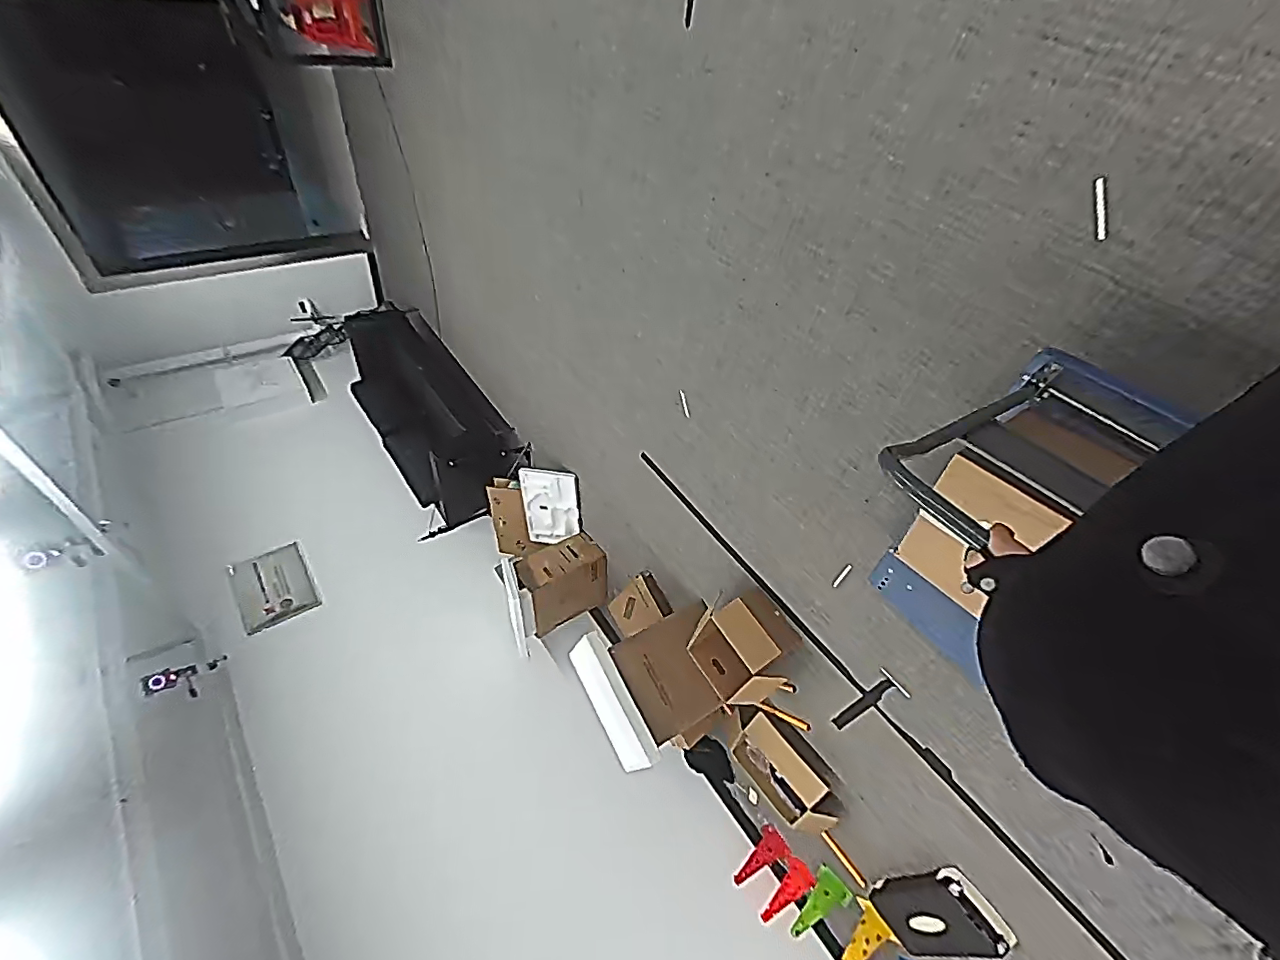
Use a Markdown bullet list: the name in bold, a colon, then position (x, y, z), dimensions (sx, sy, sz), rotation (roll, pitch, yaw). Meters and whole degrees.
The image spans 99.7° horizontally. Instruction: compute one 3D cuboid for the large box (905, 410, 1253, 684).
- **large box**: position (0.859, 0.116, 1.109), dimensions (0.408, 0.320, 0.320), rotation (45, 144, 35)
